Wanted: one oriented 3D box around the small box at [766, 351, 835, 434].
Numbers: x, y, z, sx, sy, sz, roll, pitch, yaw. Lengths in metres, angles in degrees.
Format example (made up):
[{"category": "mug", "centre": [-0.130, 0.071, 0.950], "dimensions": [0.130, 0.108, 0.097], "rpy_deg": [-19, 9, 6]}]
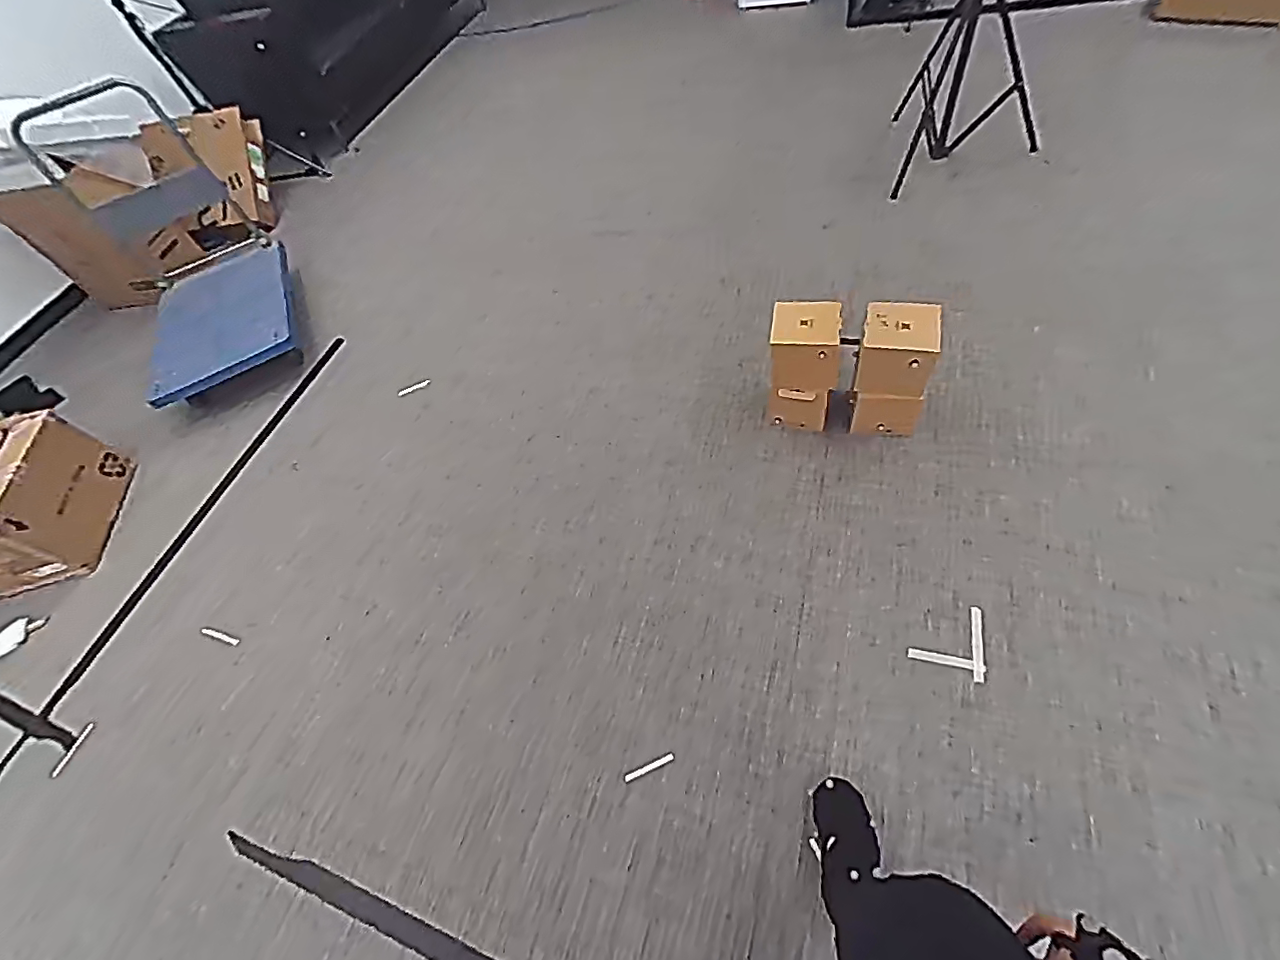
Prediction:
[{"category": "small box", "centre": [0.480, -0.259, 1.618], "dimensions": [0.168, 0.176, 0.179], "rpy_deg": [11, 60, 19]}]
